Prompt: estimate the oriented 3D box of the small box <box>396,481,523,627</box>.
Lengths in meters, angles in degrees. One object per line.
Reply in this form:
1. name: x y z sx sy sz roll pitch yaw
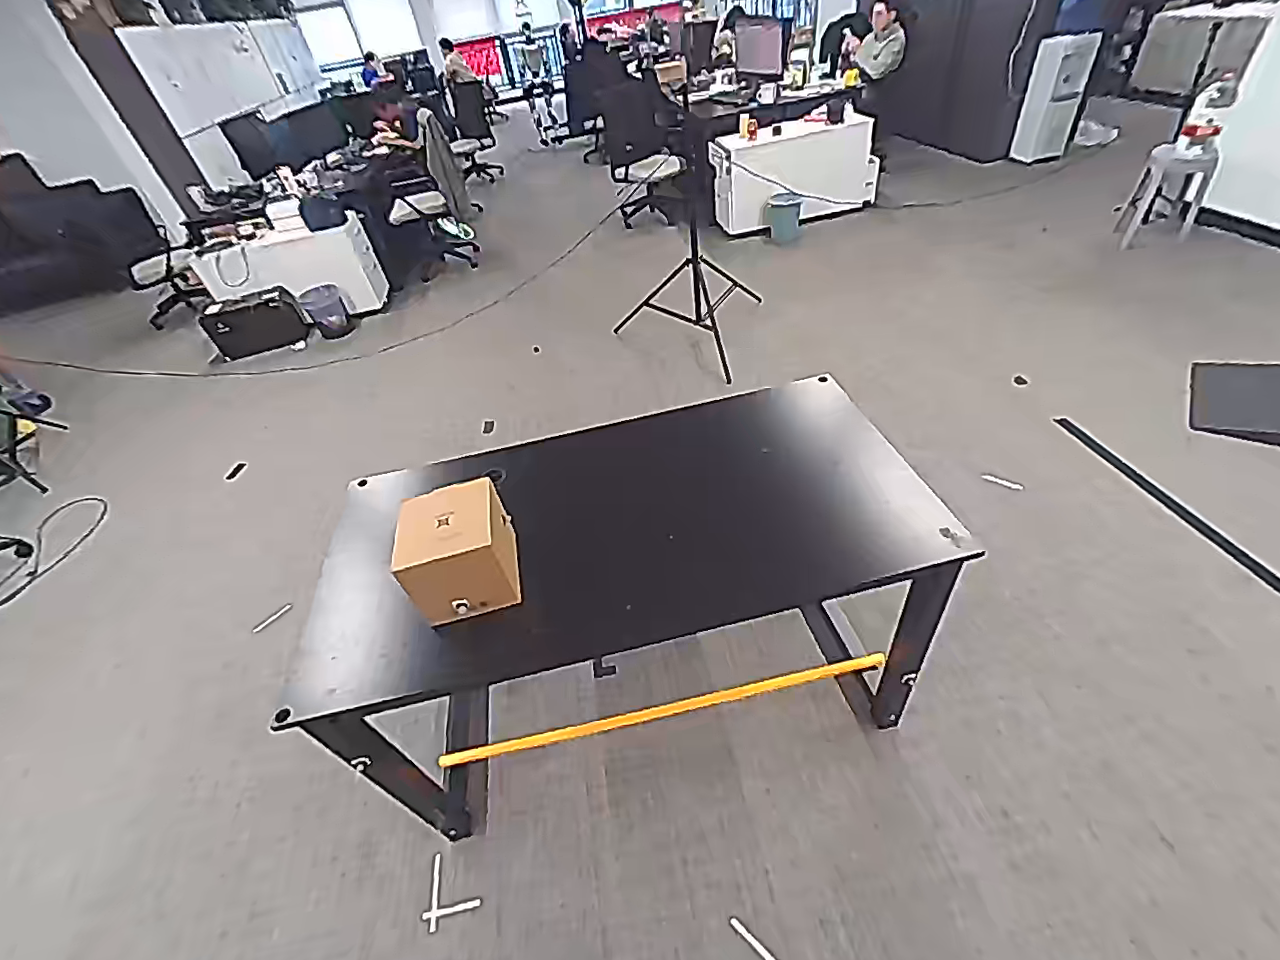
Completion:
1. small box: -0.321 0.135 0.985 0.168 0.176 0.179 -16 43 -4
